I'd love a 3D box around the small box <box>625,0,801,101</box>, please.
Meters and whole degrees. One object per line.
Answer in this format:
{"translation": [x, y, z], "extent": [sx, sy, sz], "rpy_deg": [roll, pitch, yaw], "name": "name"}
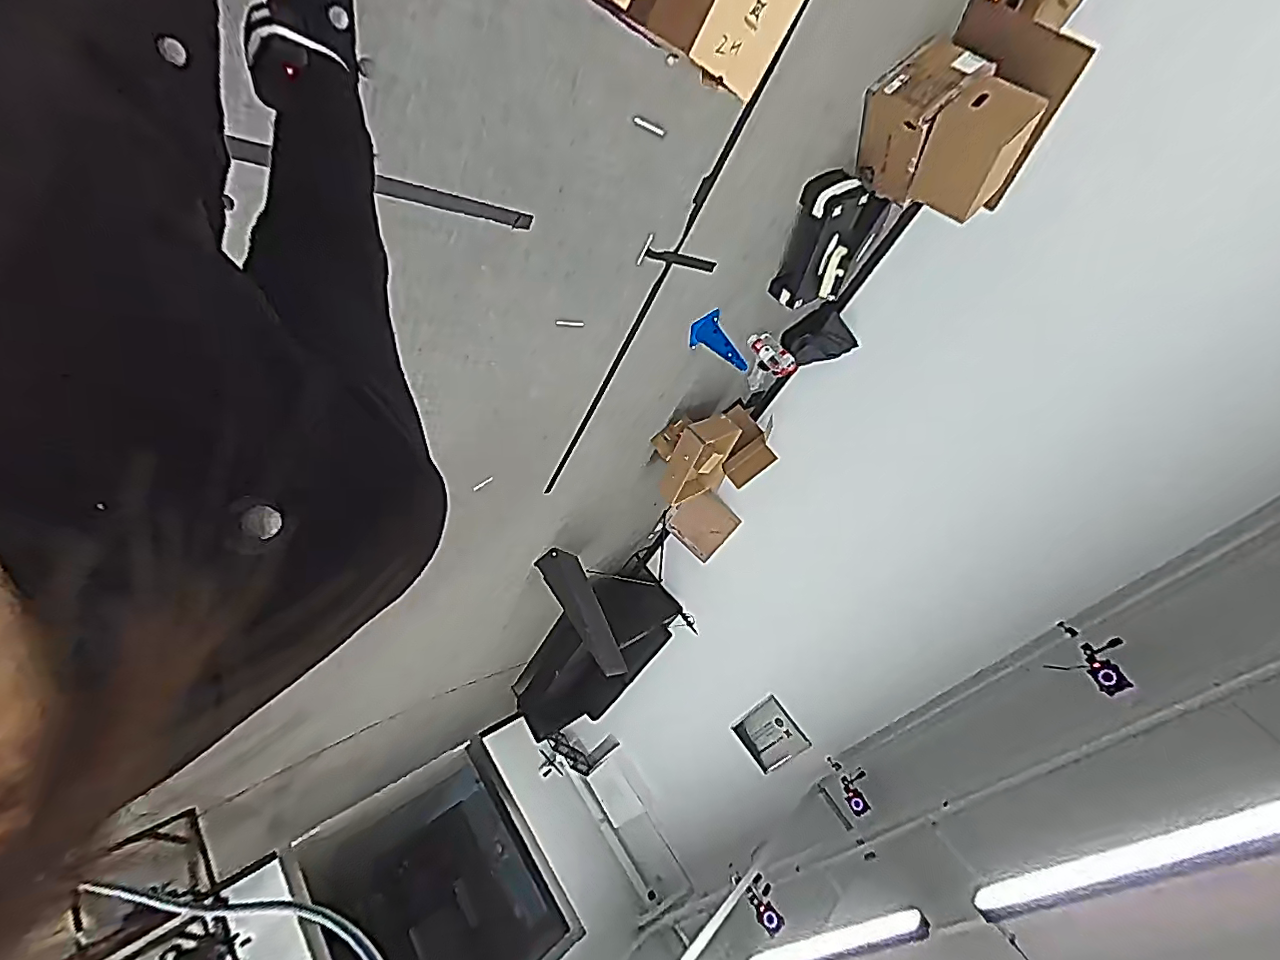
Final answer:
{"translation": [0.108, -0.710, 0.788], "extent": [0.168, 0.176, 0.179], "rpy_deg": [-10, 143, -49], "name": "small box"}
